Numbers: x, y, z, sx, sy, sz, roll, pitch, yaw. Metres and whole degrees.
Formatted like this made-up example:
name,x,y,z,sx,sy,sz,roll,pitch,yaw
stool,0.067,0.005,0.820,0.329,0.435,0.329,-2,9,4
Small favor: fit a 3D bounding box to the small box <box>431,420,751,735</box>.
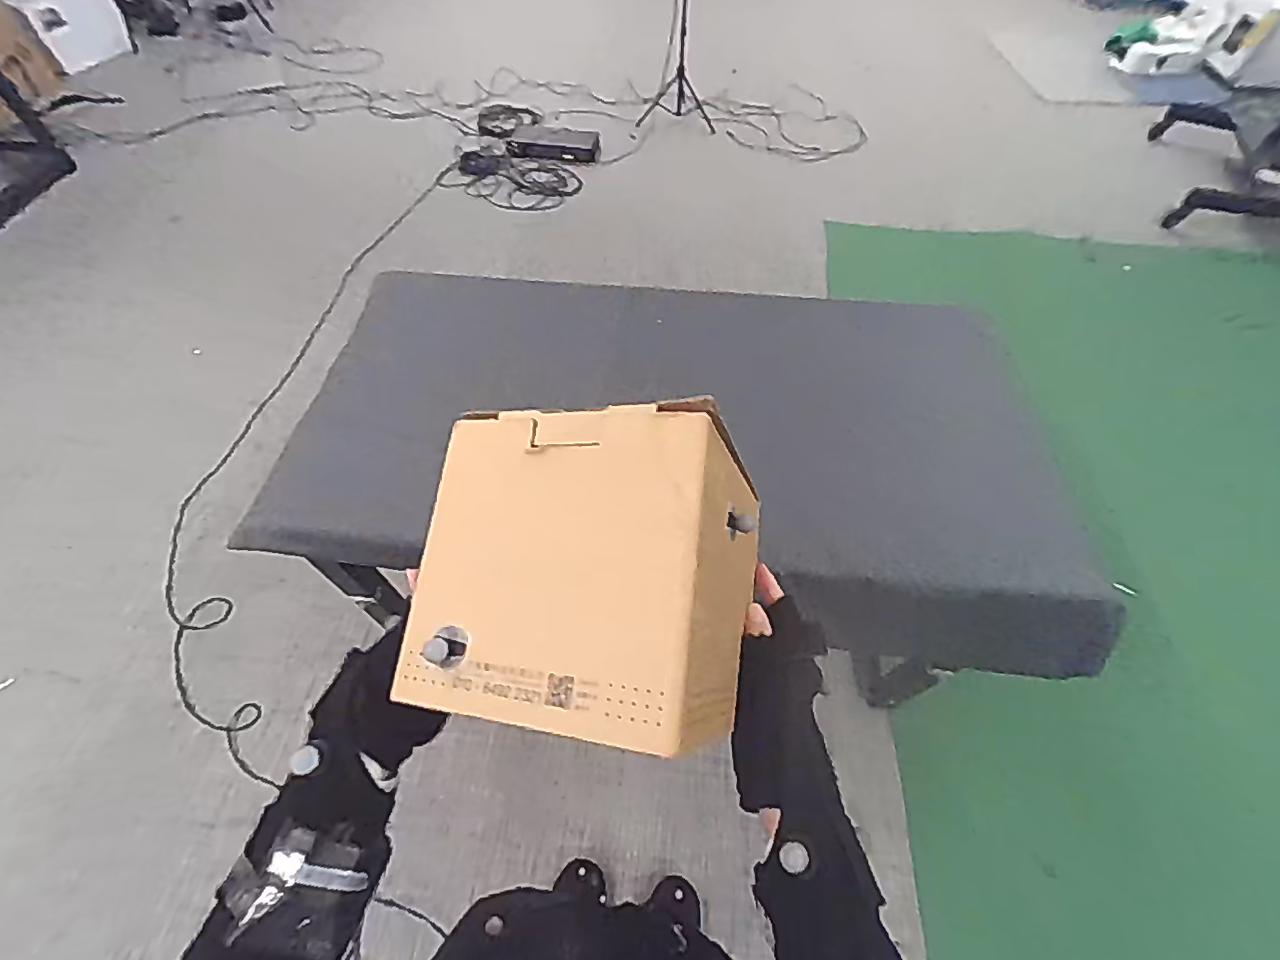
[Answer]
name,x,y,z,sx,sy,sz,roll,pitch,yaw
small box,-0.022,0.071,0.379,0.168,0.179,0.176,1,72,22
